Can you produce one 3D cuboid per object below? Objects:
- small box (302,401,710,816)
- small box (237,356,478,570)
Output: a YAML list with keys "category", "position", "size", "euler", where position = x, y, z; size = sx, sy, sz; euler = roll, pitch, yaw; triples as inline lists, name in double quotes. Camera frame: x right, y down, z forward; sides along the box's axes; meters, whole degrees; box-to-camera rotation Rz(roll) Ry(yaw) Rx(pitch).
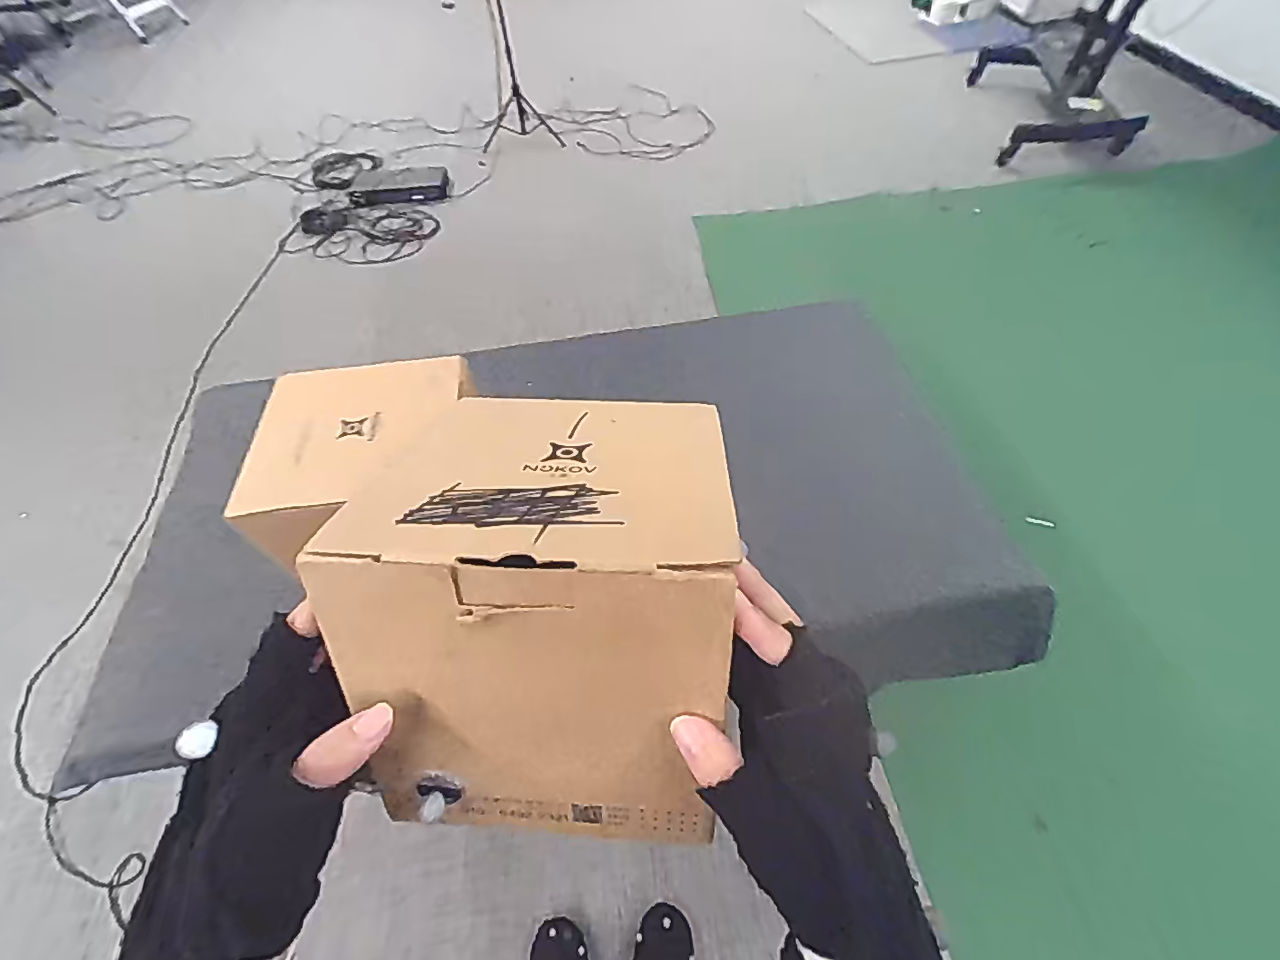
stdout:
- category: "small box"
  position: [-0.046, 0.062, 0.316]
  size: [0.168, 0.176, 0.179]
  euler: [2, 27, 4]
- category: "small box"
  position: [-0.240, 0.002, 0.542]
  size: [0.179, 0.176, 0.168]
  euler: [-8, 53, -2]
